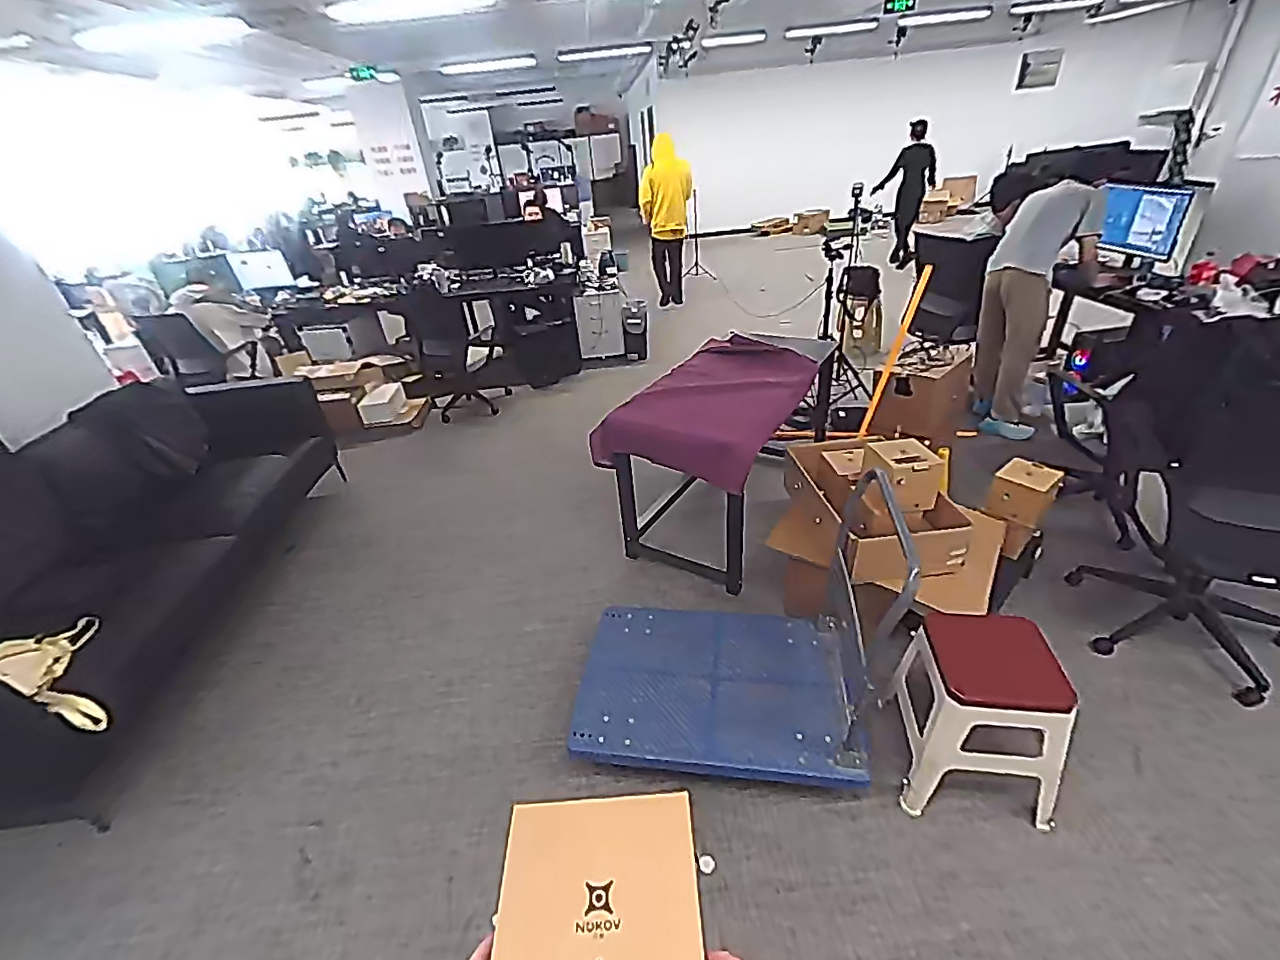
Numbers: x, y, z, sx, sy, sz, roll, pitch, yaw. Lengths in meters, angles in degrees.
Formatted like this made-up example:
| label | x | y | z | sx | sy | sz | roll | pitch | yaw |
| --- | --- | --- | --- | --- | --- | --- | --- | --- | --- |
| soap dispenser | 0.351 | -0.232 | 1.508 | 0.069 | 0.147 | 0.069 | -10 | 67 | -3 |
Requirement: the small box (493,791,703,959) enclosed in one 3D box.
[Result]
| label | x | y | z | sx | sy | sz | roll | pitch | yaw |
| --- | --- | --- | --- | --- | --- | --- | --- | --- | --- |
| small box | -0.028 | 0.415 | 0.491 | 0.168 | 0.176 | 0.179 | -5 | 36 | 2 |
